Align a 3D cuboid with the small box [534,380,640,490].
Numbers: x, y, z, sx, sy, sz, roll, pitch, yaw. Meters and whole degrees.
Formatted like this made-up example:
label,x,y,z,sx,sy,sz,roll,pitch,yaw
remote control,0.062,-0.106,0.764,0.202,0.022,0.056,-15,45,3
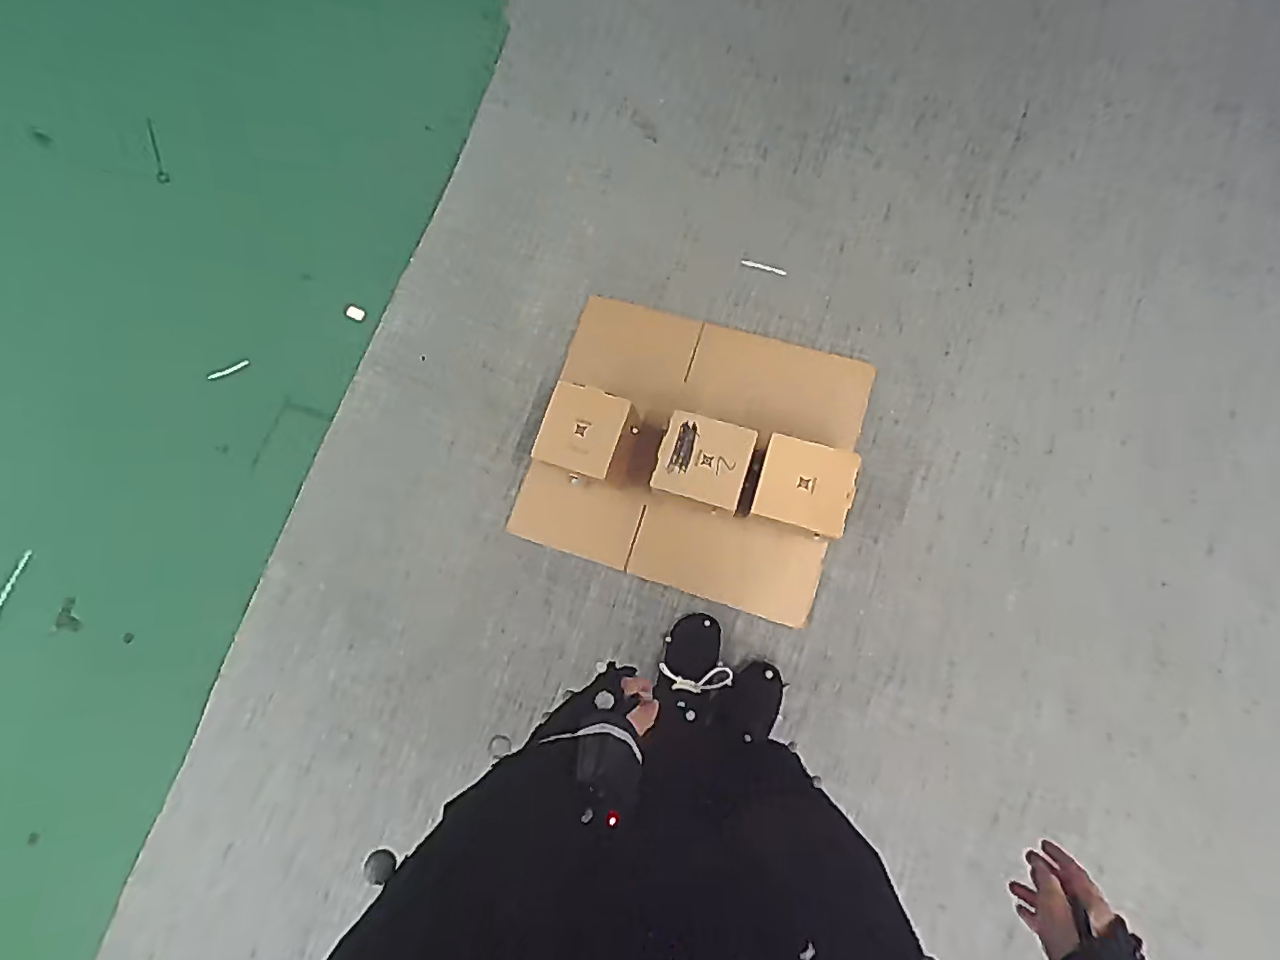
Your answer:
label,x,y,z,sx,sy,sz,roll,pitch,yaw
small box,-0.105,-0.090,1.173,0.168,0.176,0.179,18,84,10
